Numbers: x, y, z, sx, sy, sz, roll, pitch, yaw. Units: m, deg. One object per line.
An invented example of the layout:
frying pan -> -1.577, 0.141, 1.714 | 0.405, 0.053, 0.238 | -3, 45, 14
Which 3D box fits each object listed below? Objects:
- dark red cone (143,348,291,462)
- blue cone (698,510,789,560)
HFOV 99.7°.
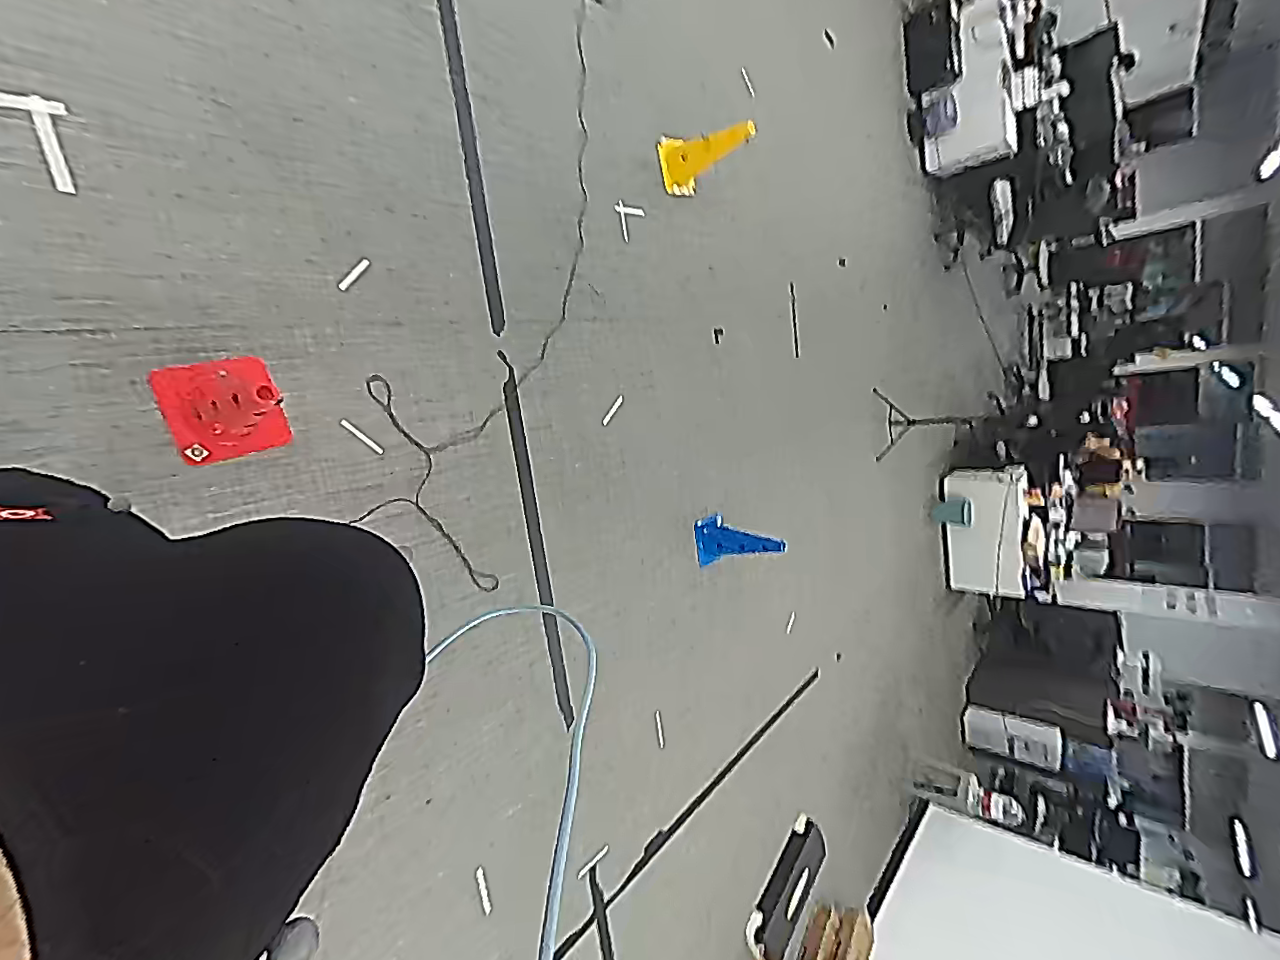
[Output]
dark red cone -> -0.725, -0.154, 0.983 | 0.201, 0.394, 0.202 | -29, 111, -44
blue cone -> 0.433, 0.242, 2.248 | 0.192, 0.380, 0.193 | -17, 103, -46
